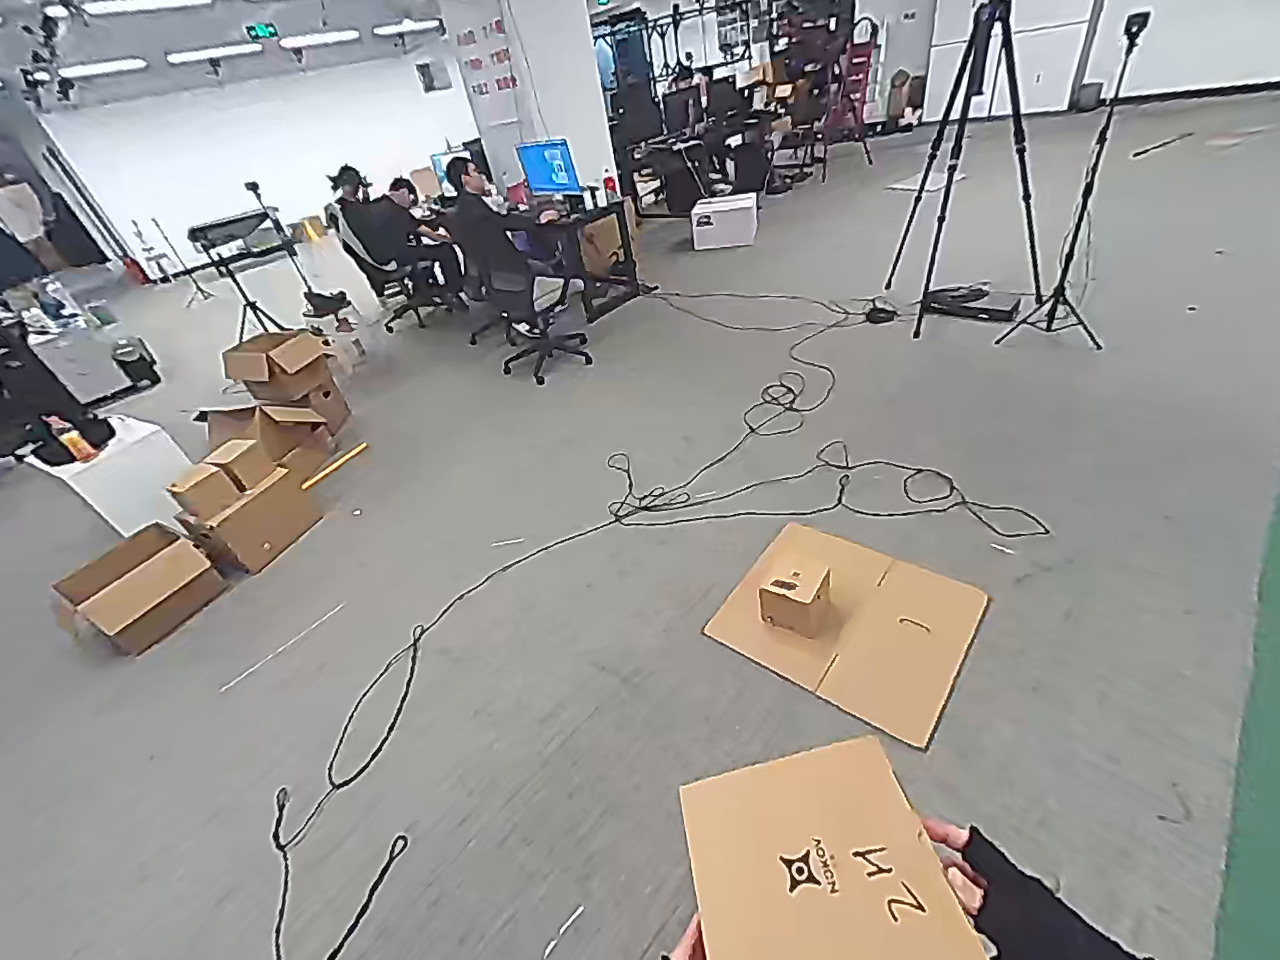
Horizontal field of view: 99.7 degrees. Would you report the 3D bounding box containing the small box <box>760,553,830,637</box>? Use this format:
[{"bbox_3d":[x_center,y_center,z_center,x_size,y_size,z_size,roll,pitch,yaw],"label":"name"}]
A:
[{"bbox_3d":[0.503,0.371,1.738,0.168,0.176,0.179,16,45,34],"label":"small box"}]

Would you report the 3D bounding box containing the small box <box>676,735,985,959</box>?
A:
[{"bbox_3d":[0.142,0.343,0.430,0.179,0.176,0.168,-17,33,3],"label":"small box"}]
